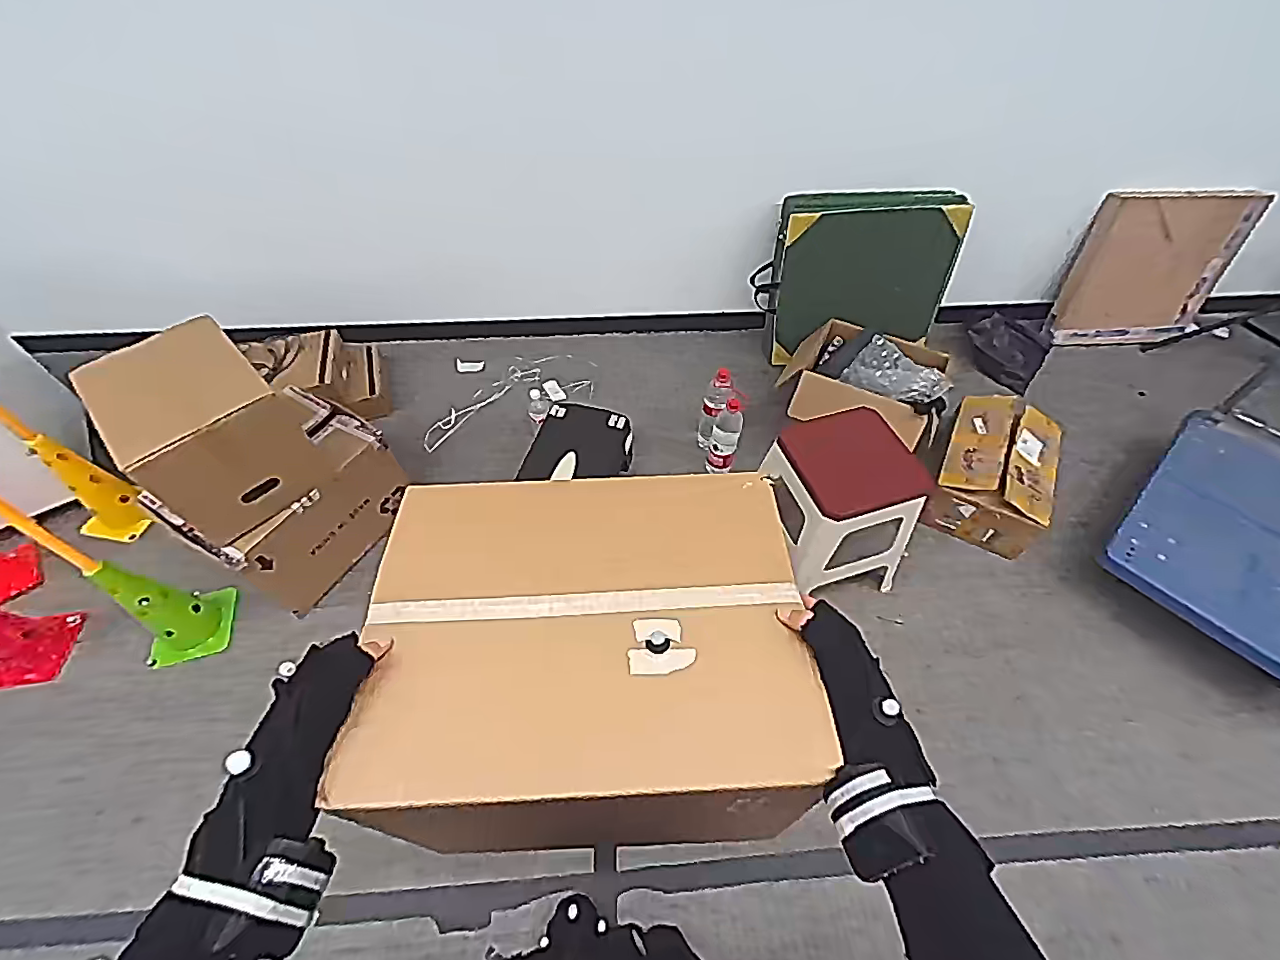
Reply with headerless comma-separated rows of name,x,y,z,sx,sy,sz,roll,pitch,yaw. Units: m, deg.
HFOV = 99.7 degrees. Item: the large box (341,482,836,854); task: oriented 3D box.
large box,-0.046,0.224,0.636,0.408,0.320,0.320,-2,50,-1
